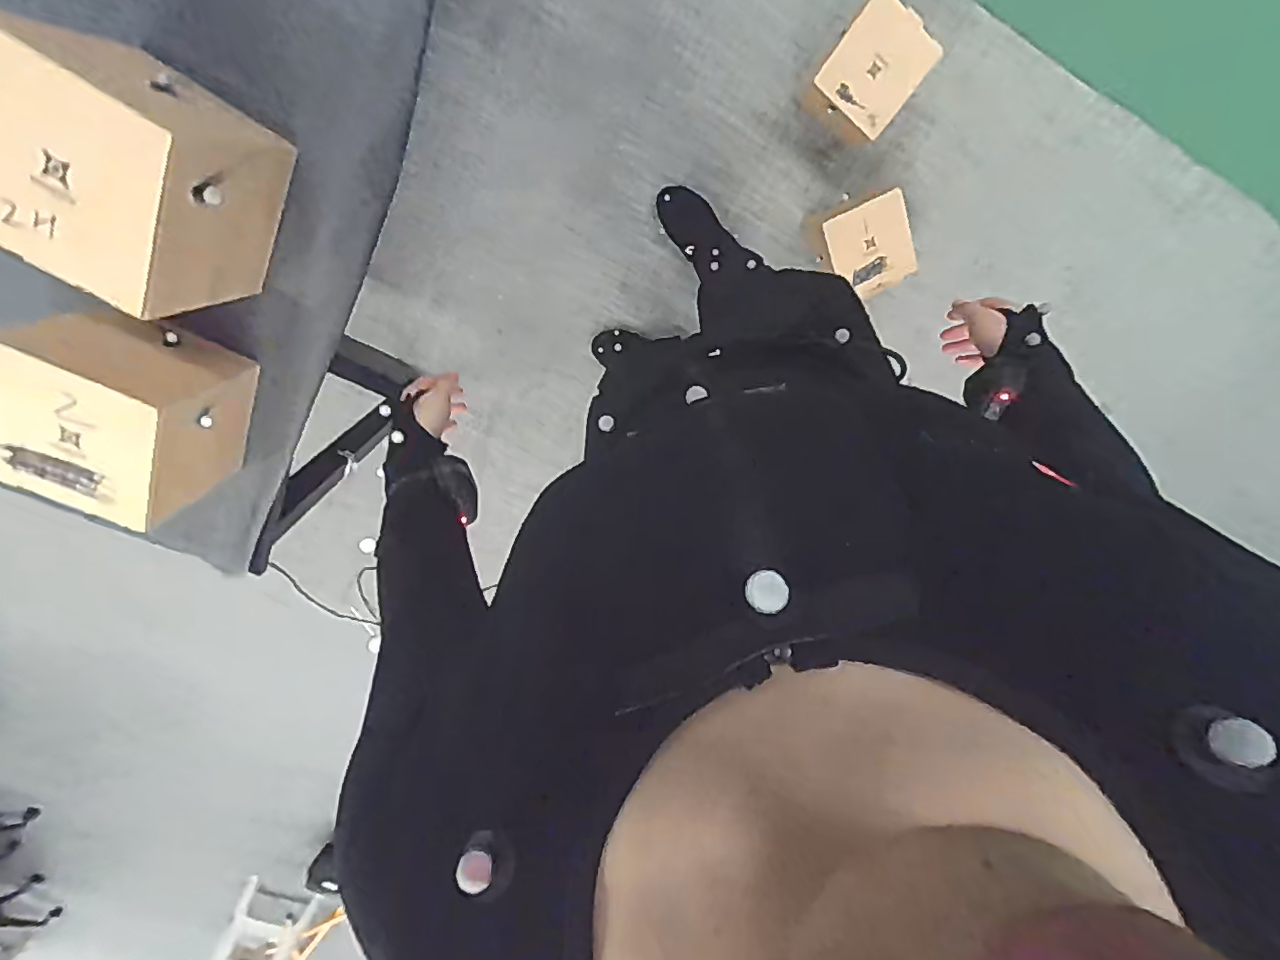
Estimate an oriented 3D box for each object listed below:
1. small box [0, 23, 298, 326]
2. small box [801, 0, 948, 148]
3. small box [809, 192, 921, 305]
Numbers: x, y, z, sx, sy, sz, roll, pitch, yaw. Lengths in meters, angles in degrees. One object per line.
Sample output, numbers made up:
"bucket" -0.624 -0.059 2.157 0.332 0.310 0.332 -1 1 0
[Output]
"small box" -0.474 -0.285 0.526 0.168 0.176 0.179 30 116 -12
"small box" 0.444 -0.786 1.056 0.168 0.176 0.179 33 114 -16
"small box" 0.493 -0.518 1.201 0.168 0.176 0.179 -21 115 13
